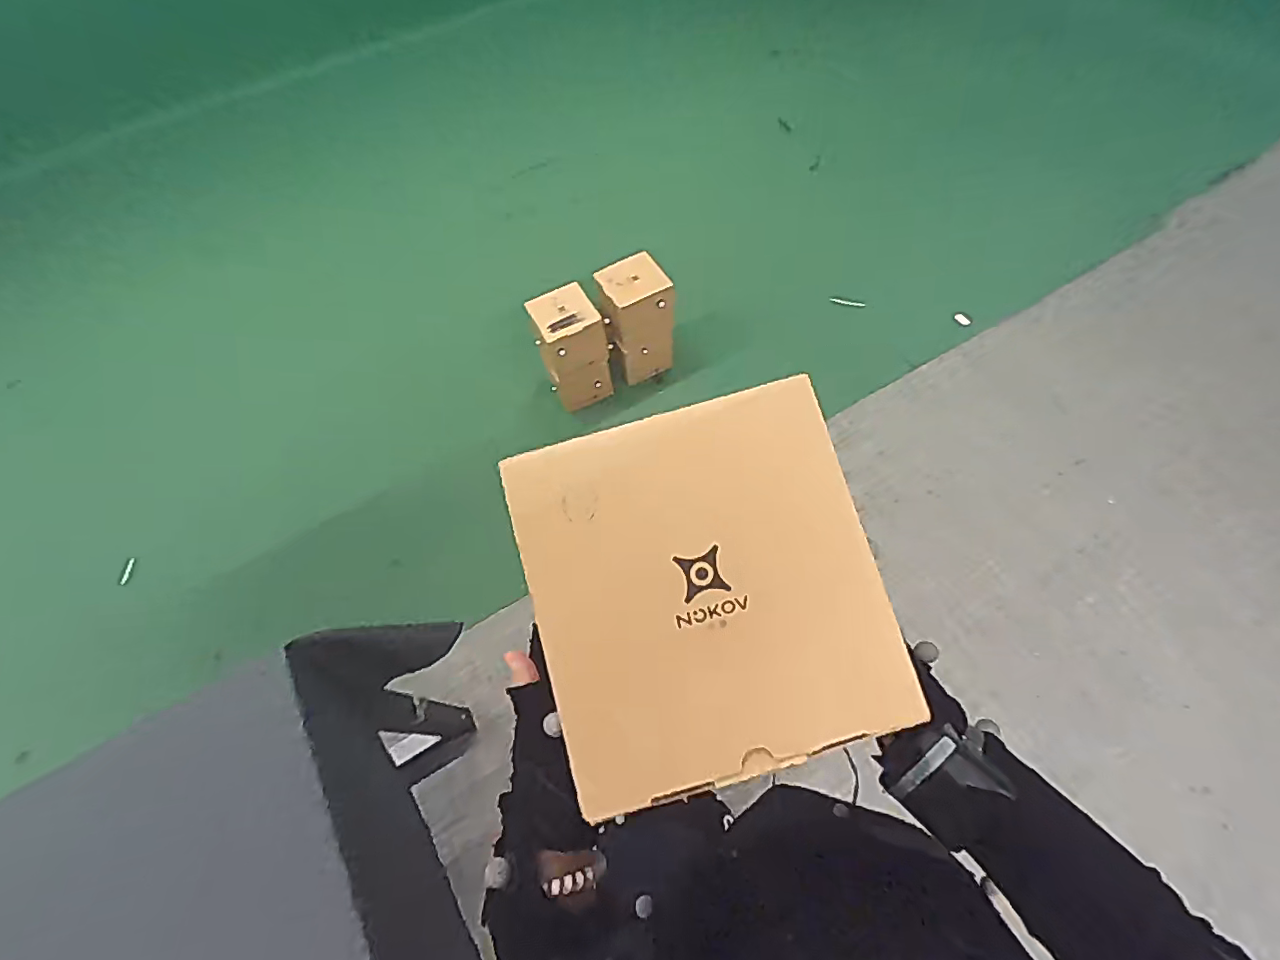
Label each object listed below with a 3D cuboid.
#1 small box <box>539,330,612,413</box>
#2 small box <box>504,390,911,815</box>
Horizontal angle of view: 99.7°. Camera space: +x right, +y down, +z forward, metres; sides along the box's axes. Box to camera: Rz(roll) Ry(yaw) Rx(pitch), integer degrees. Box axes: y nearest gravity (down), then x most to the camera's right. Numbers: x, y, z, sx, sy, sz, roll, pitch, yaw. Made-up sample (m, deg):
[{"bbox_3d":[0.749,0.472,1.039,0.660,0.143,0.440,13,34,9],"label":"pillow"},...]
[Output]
[{"bbox_3d":[-0.200,-0.336,1.723,0.168,0.176,0.179,-25,63,-9],"label":"small box"},{"bbox_3d":[0.030,0.069,0.347,0.168,0.176,0.179,-16,80,-1],"label":"small box"}]
